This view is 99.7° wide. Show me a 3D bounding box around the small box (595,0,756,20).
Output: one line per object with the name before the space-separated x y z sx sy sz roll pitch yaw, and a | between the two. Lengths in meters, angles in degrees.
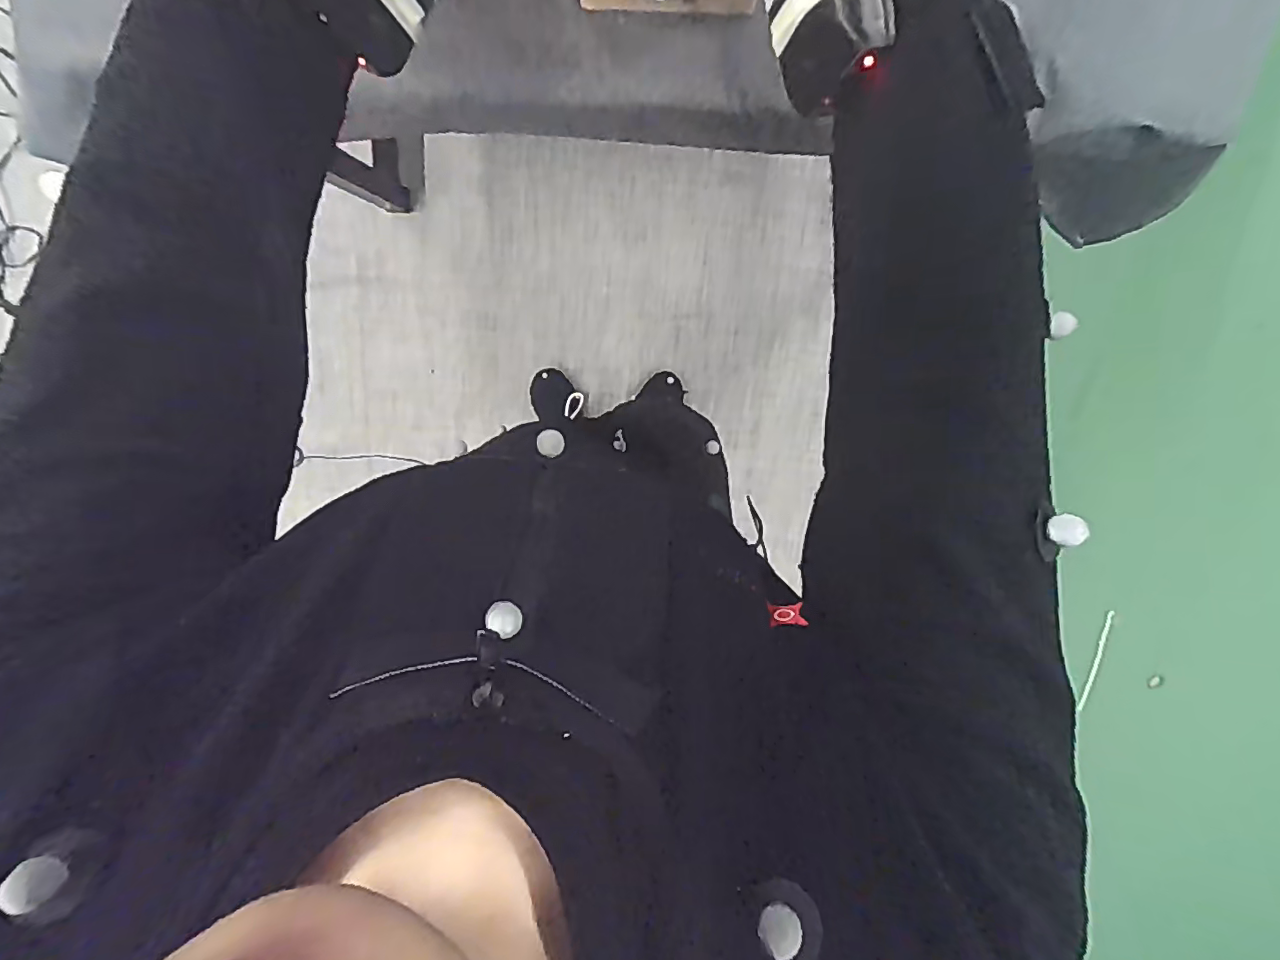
small box | 0.030 -0.511 0.419 0.168 0.176 0.179 3 103 1
